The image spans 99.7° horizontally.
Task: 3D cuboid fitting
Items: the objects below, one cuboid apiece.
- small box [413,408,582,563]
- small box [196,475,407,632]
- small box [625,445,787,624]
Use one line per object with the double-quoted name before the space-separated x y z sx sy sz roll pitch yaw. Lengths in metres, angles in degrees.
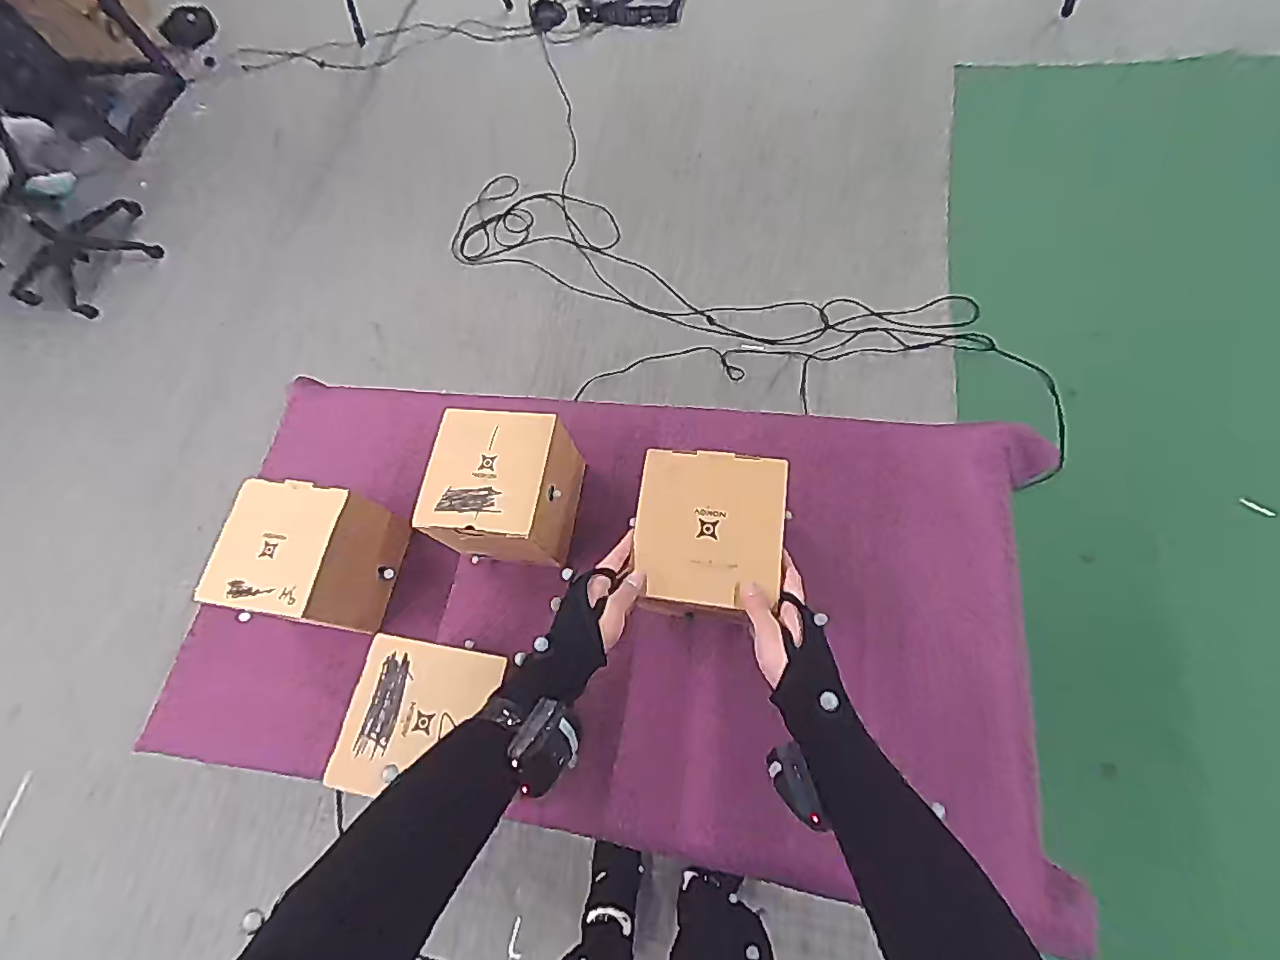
"small box" -0.192 0.014 0.789 0.168 0.176 0.179 5 68 11
"small box" -0.472 0.111 0.788 0.168 0.176 0.179 6 68 12
"small box" 0.085 0.074 0.680 0.168 0.176 0.179 6 71 10
